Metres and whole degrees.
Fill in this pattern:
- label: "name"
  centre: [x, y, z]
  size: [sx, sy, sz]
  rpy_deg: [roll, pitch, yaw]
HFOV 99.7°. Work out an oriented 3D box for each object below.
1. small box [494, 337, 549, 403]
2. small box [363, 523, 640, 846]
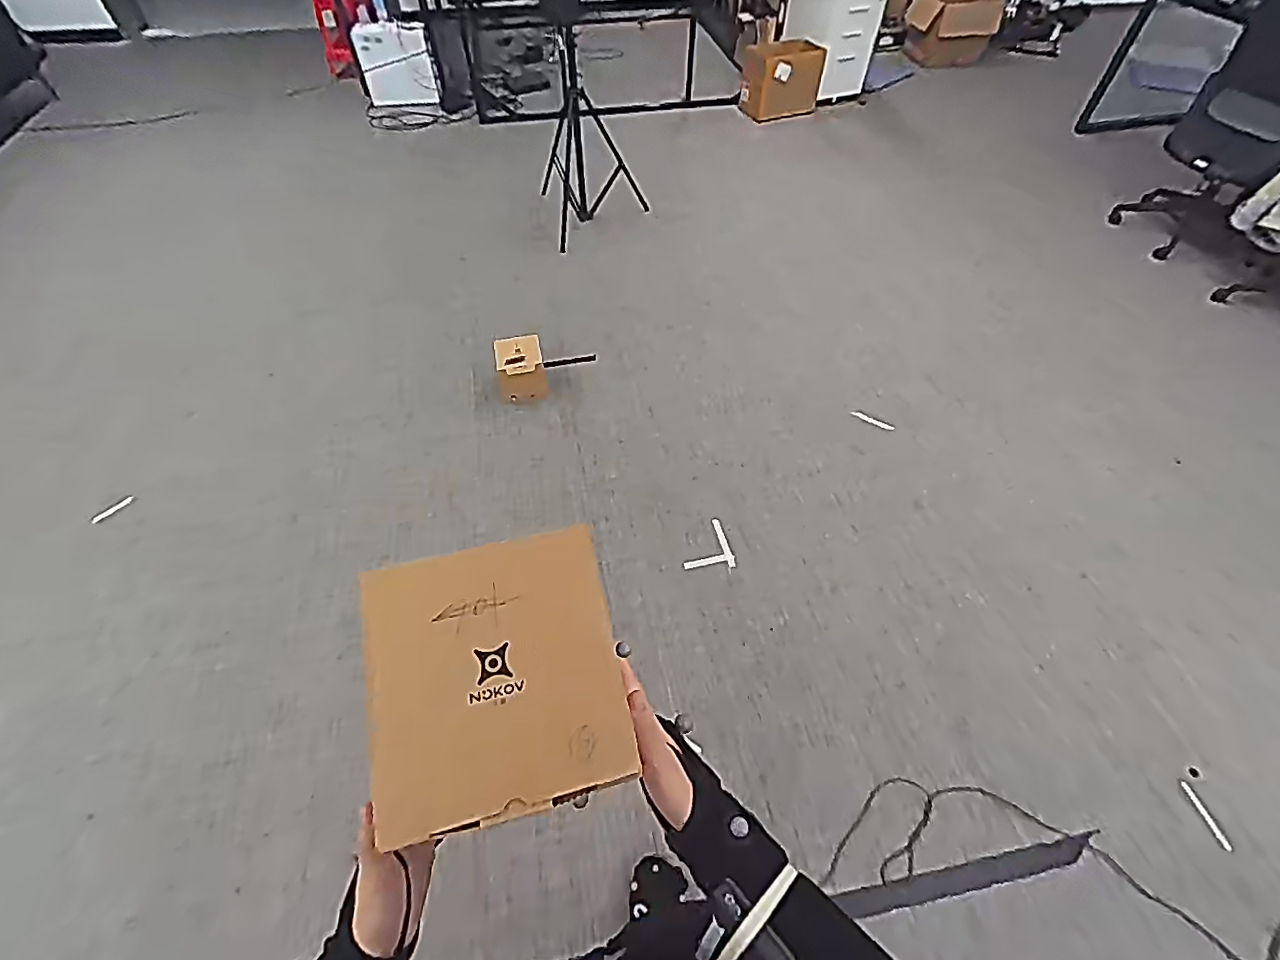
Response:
- label: "small box"
  centre: [-0.446, -0.410, 2.046]
  size: [0.168, 0.176, 0.179]
  rpy_deg: [-11, 54, -8]
- label: "small box"
  centre: [-0.103, 0.157, 0.439]
  size: [0.168, 0.176, 0.179]
  rpy_deg: [-12, 67, -11]
